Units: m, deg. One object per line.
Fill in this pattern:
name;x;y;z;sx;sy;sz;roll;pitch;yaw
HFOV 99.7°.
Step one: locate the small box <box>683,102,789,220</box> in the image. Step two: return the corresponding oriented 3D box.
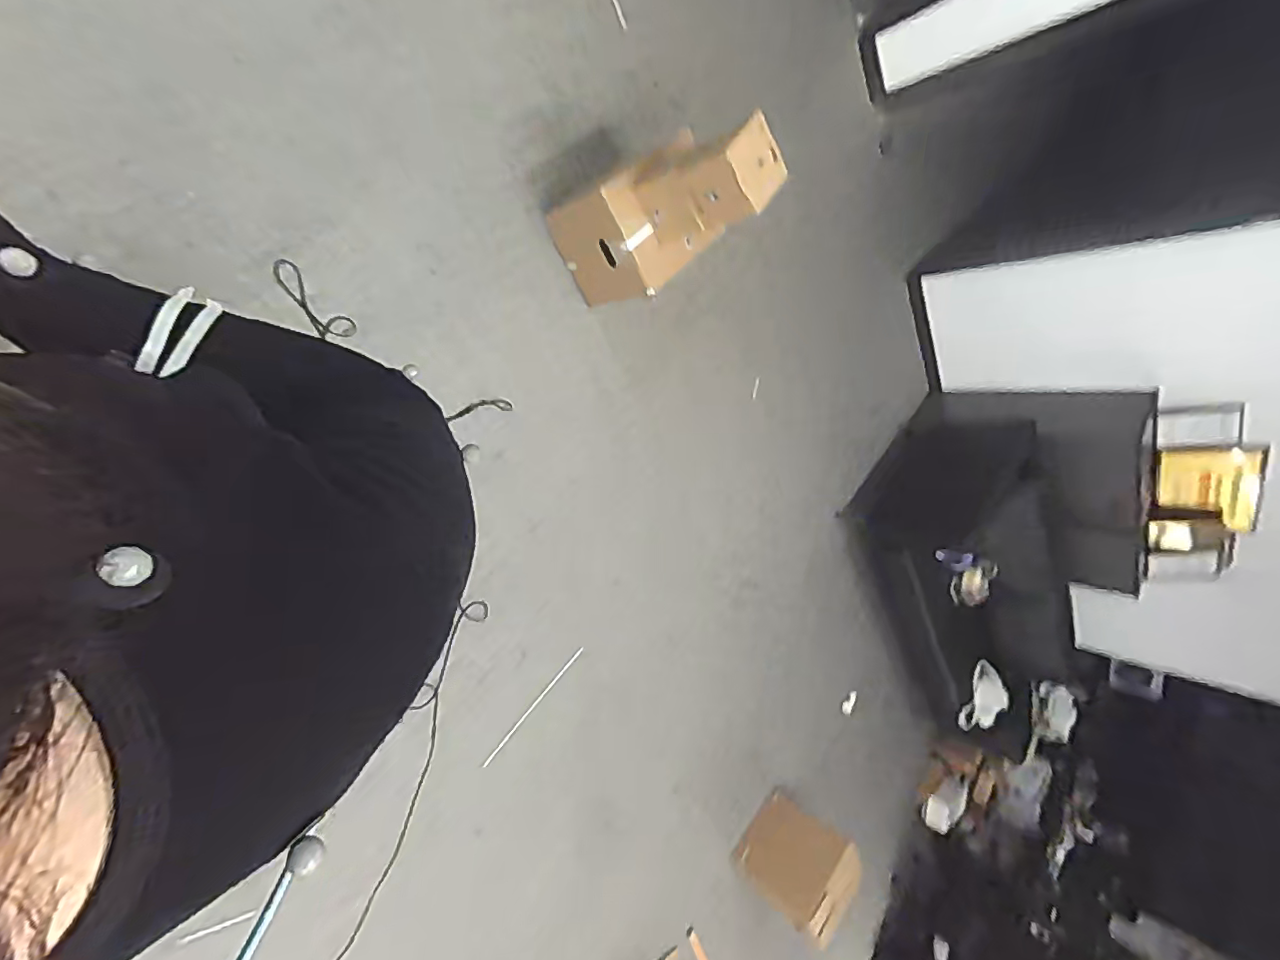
small box;0.231;-0.781;1.342;0.168;0.176;0.179;48;68;-33
